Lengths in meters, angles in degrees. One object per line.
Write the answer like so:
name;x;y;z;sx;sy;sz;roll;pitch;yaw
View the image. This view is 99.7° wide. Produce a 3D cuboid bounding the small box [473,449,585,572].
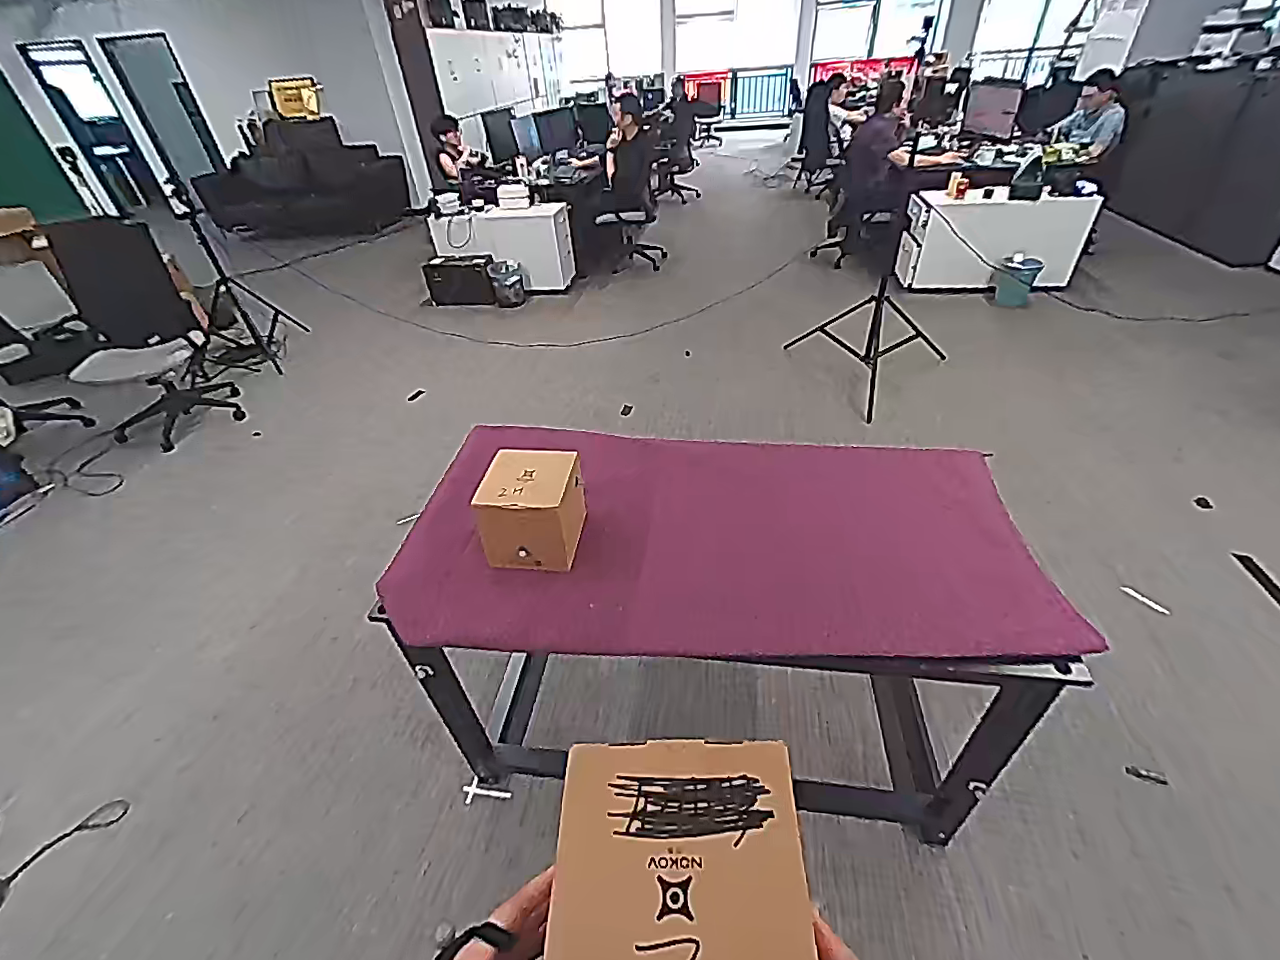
small box;-0.208;0.057;1.072;0.168;0.176;0.179;2;39;6
